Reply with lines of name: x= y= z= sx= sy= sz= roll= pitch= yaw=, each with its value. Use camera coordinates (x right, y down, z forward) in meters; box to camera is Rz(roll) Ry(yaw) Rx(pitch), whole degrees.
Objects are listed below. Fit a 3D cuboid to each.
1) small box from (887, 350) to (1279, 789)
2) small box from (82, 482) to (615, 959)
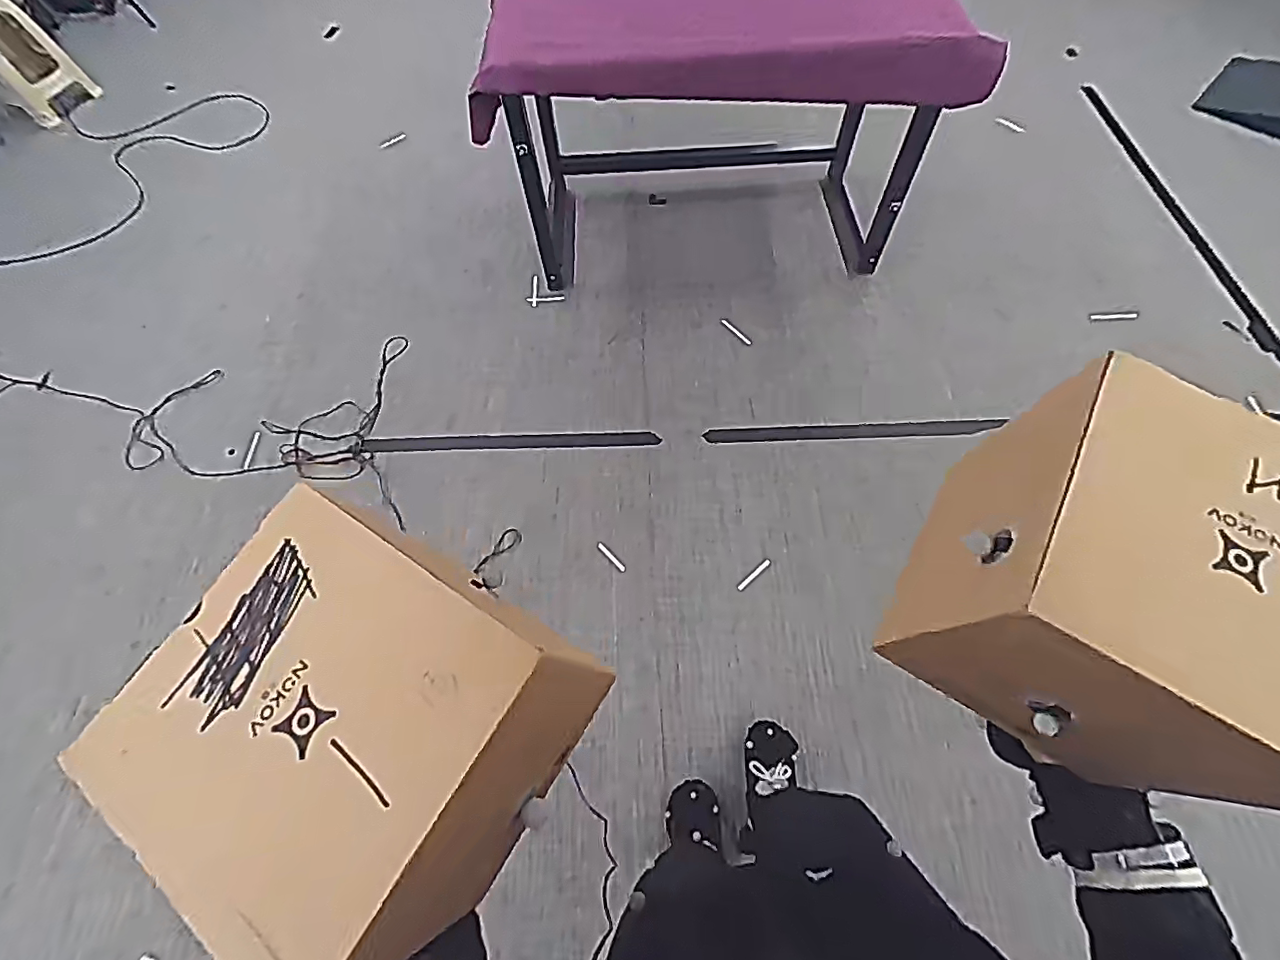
small box: x=0.284 y=0.064 z=0.334 sx=0.168 sy=0.176 sz=0.179 roll=31 pitch=69 yaw=9
small box: x=-0.139 y=0.133 z=0.321 sx=0.179 sy=0.176 sz=0.168 roll=28 pitch=76 yaw=19
